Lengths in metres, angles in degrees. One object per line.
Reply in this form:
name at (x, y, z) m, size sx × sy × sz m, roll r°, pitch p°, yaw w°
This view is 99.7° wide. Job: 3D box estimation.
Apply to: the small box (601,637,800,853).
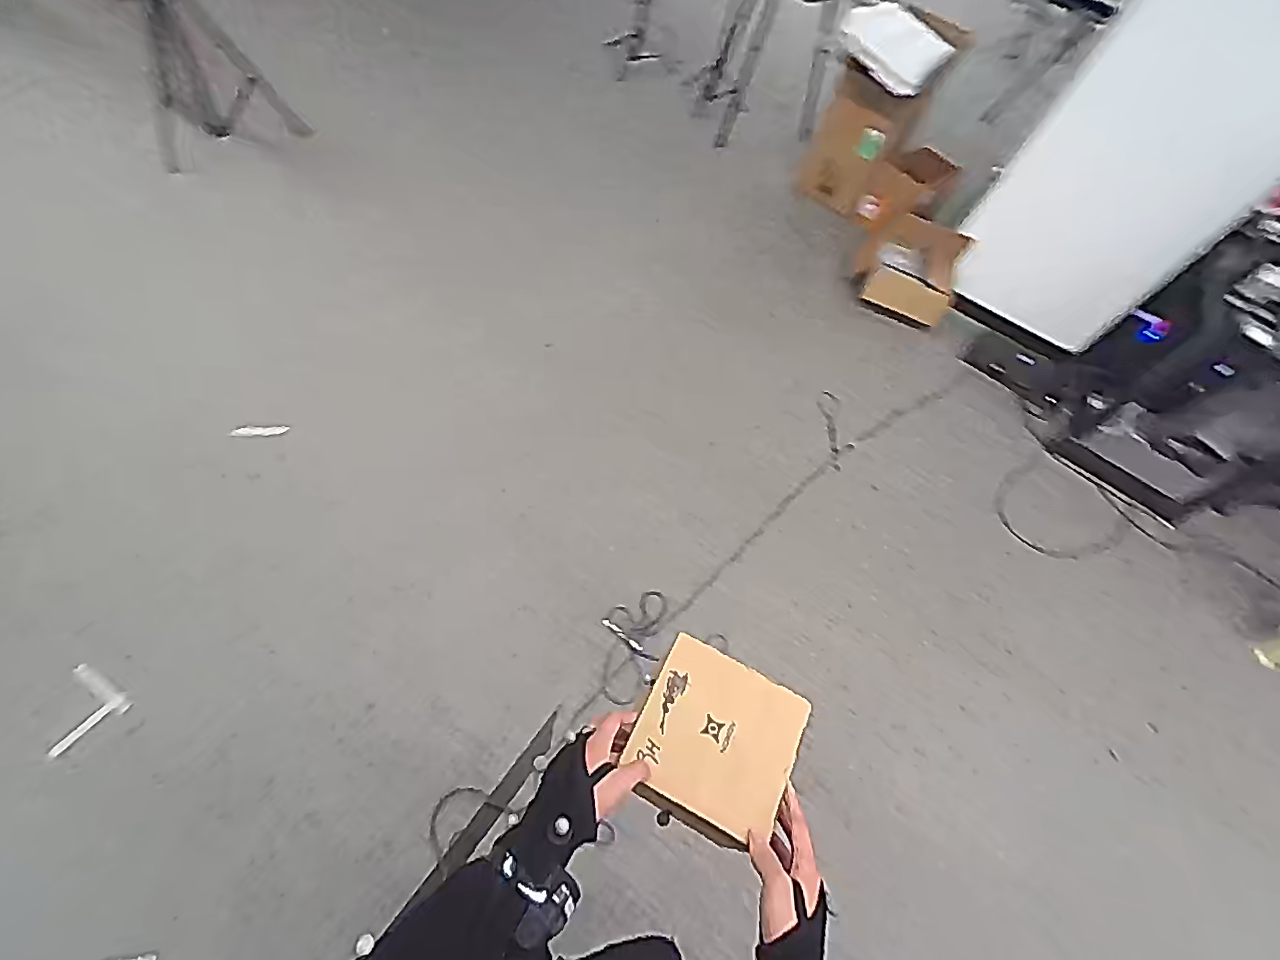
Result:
small box at (0.067, 0.326, 0.676) m, size 0.179 × 0.176 × 0.168 m, roll 27°, pitch 59°, yaw 7°
